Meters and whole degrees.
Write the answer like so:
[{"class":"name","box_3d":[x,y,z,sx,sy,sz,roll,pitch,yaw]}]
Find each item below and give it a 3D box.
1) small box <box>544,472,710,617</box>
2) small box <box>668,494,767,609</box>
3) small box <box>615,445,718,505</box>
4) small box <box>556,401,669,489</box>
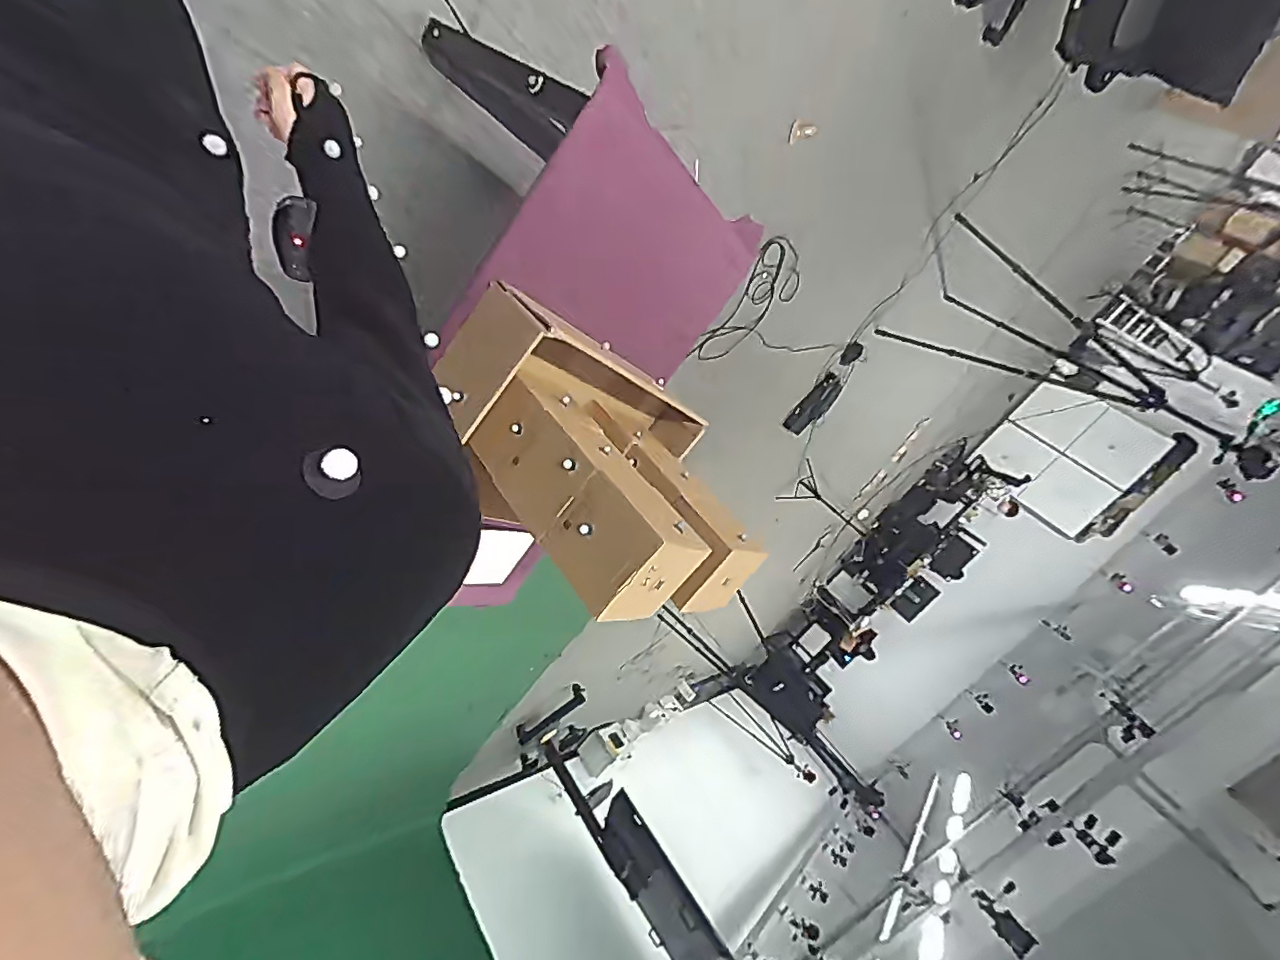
[{"class":"small box","box_3d":[-0.022,0.107,0.895,0.168,0.176,0.179,-50,149,12]},{"class":"small box","box_3d":[0.125,0.147,1.123,0.168,0.176,0.179,-52,146,16]},{"class":"small box","box_3d":[0.034,0.042,1.208,0.168,0.176,0.179,-52,148,16]},{"class":"small box","box_3d":[-0.063,-0.064,1.287,0.168,0.176,0.179,-51,146,16]}]
